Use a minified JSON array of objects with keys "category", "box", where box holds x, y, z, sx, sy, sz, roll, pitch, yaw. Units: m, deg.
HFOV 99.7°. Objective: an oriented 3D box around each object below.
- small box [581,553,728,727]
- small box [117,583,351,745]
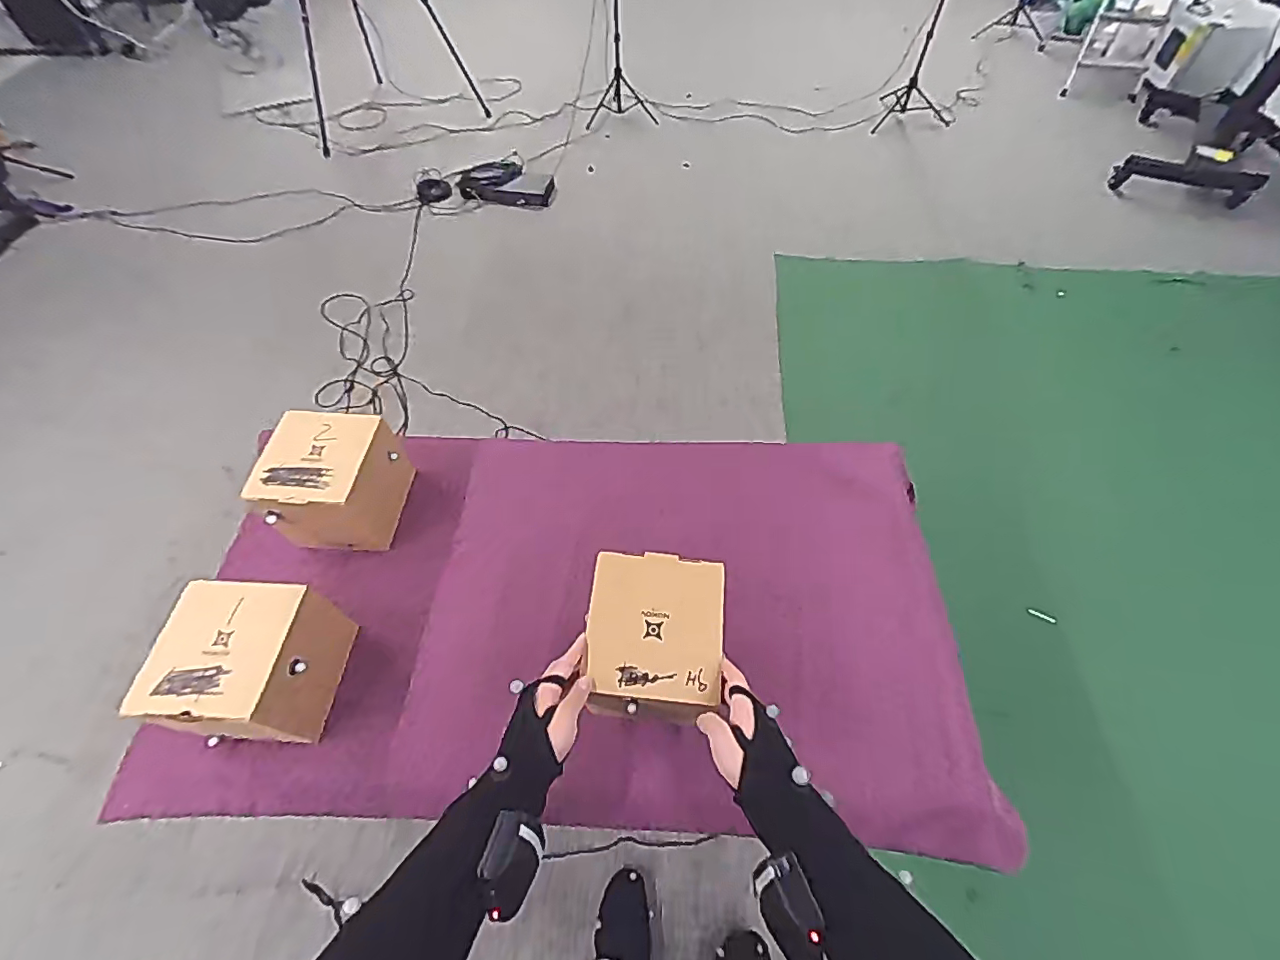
[{"category":"small box","box":[0.022,0.218,0.722,0.168,0.176,0.179,5,59,4]},{"category":"small box","box":[-0.537,0.260,0.751,0.168,0.176,0.179,3,55,1]}]
